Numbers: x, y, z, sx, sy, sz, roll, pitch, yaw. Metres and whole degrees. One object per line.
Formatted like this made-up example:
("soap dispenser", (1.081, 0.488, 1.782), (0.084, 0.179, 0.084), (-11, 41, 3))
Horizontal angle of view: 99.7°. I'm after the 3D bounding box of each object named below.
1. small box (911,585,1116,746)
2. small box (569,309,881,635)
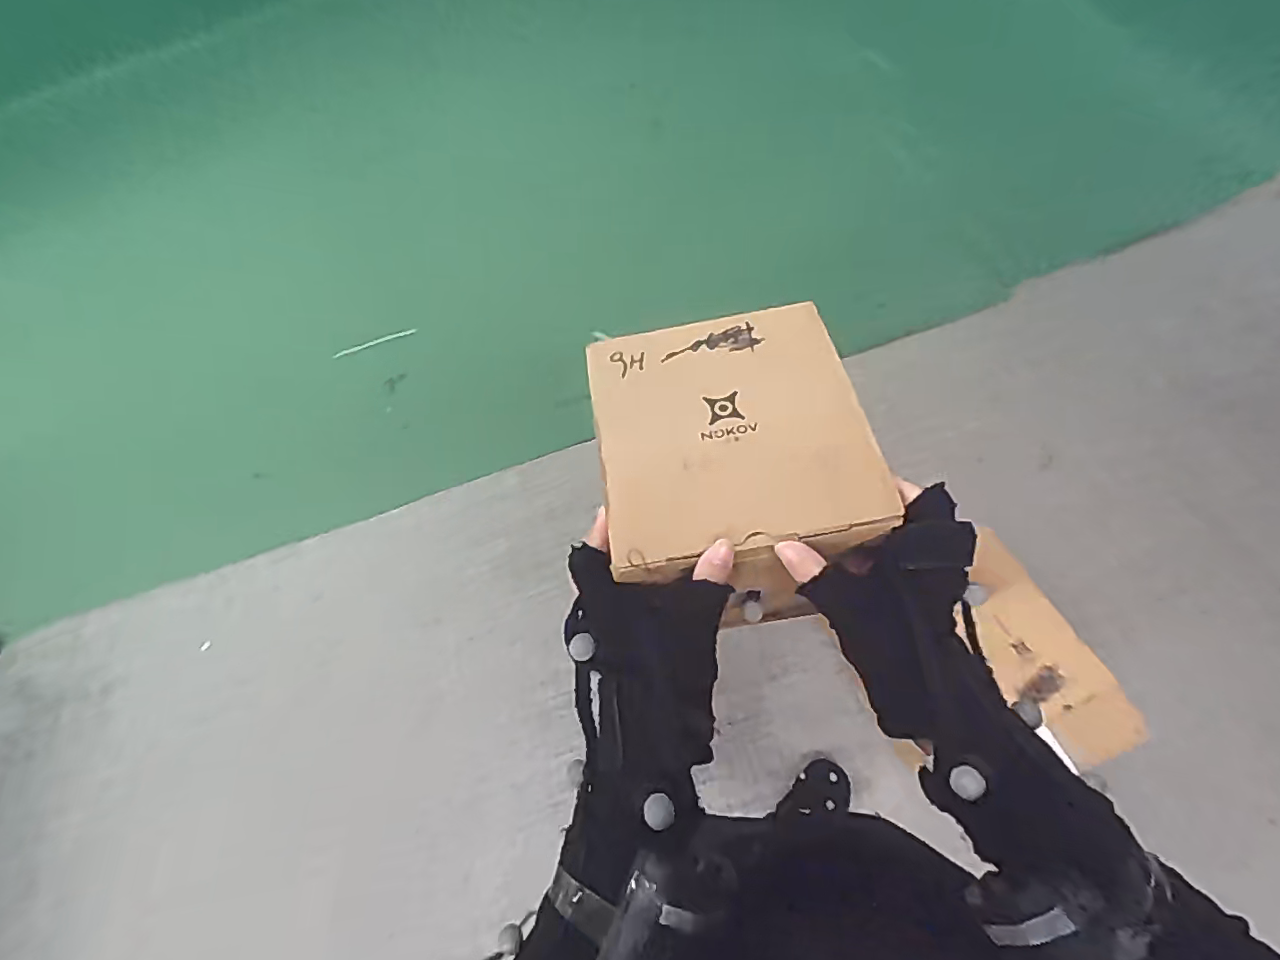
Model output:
("small box", (0.576, 0.296, 0.865), (0.168, 0.176, 0.179), (-29, 66, -4))
("small box", (0.052, 0.009, 0.406), (0.168, 0.176, 0.179), (-11, 61, 2))
